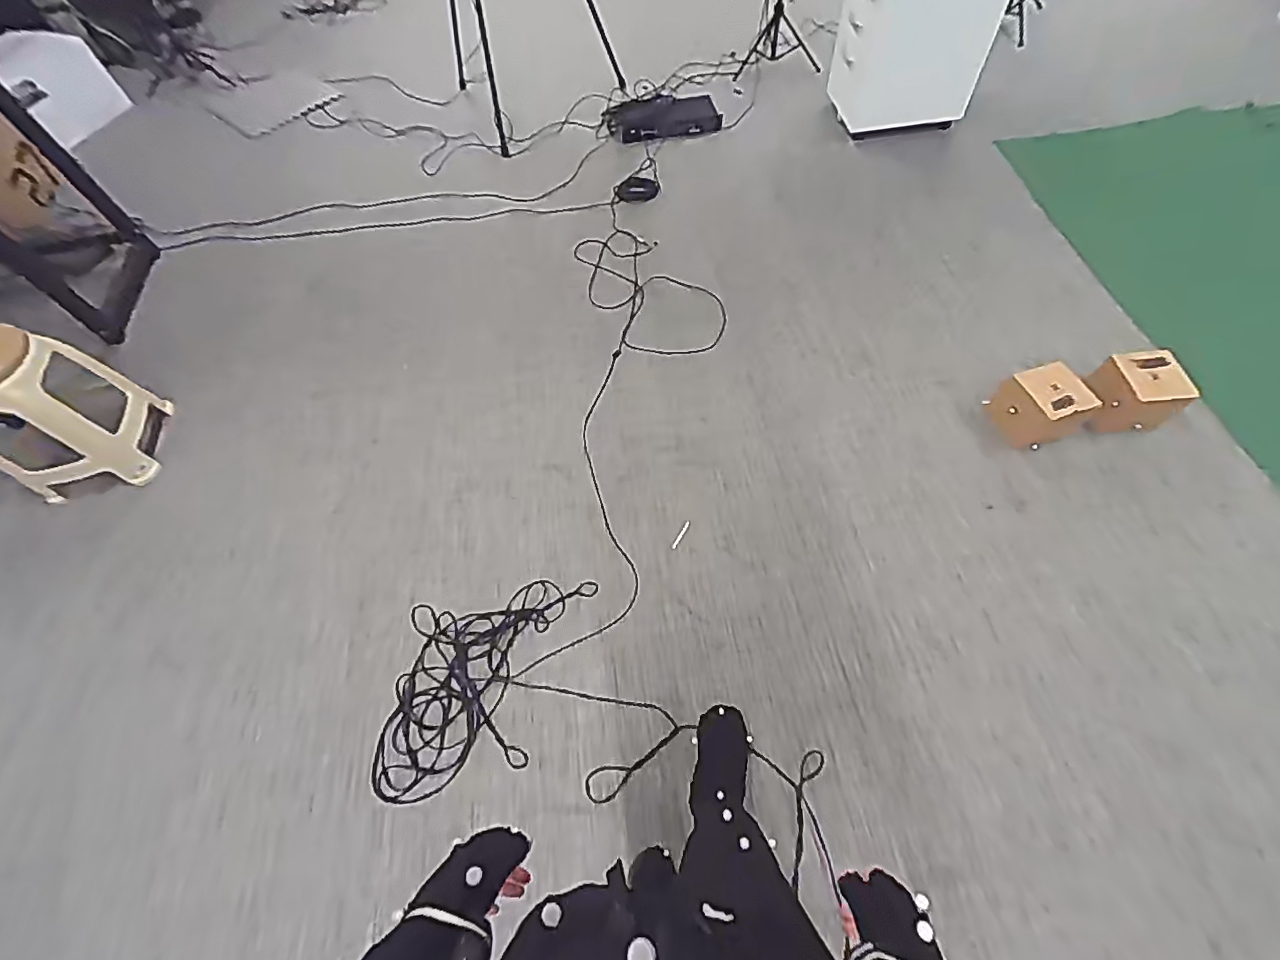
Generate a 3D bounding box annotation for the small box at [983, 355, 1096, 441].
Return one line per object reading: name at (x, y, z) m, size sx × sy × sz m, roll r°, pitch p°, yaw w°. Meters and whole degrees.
small box at (1.170, -0.233, 1.598) m, size 0.168 × 0.176 × 0.179 m, roll -16°, pitch 60°, yaw -5°
